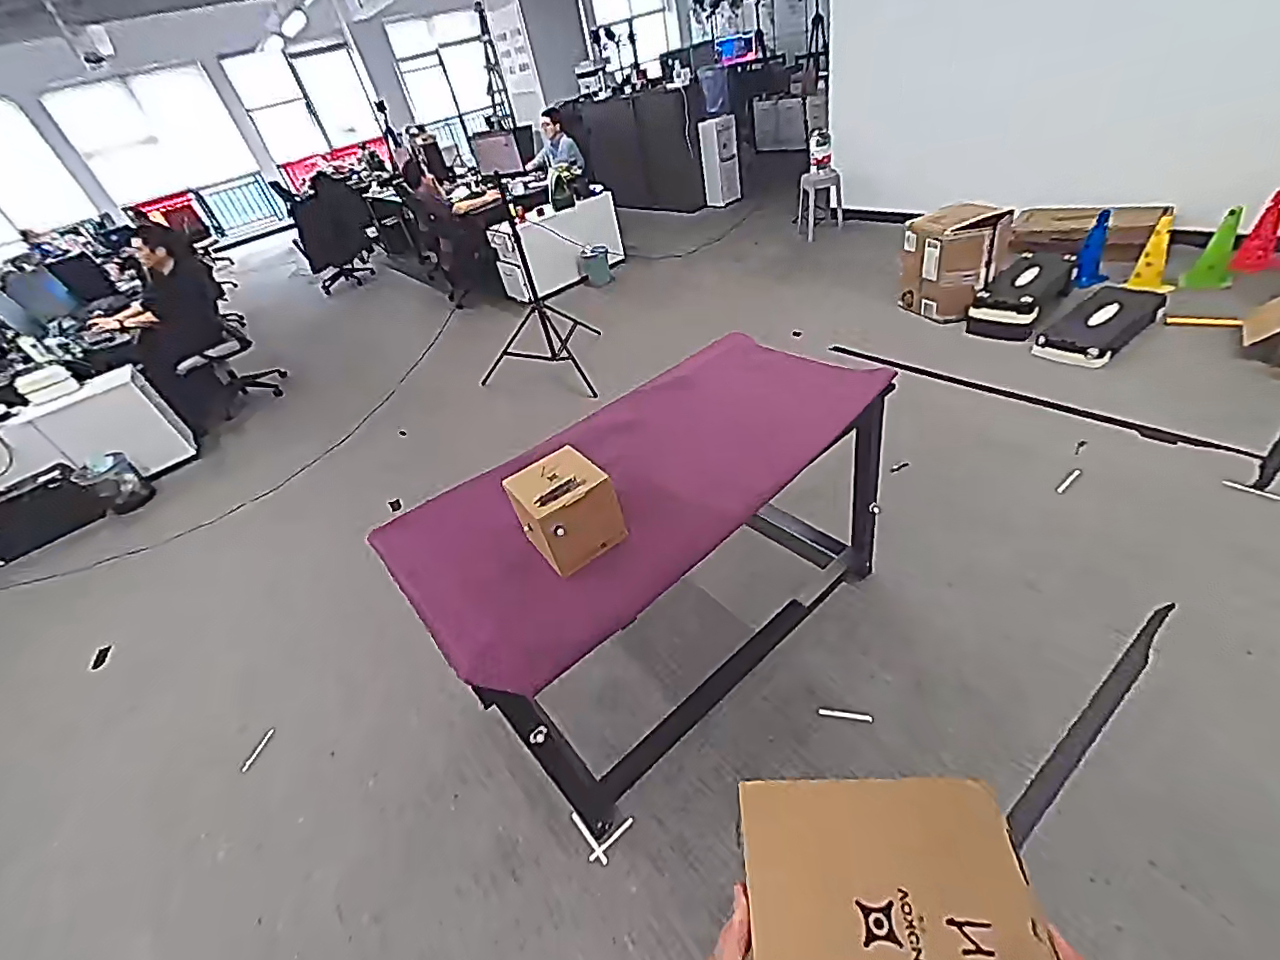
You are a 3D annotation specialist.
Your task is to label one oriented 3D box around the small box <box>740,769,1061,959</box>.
[{"bbox_3d":[0.172,0.323,0.394,0.179,0.176,0.168,-5,47,8],"label":"small box"}]
